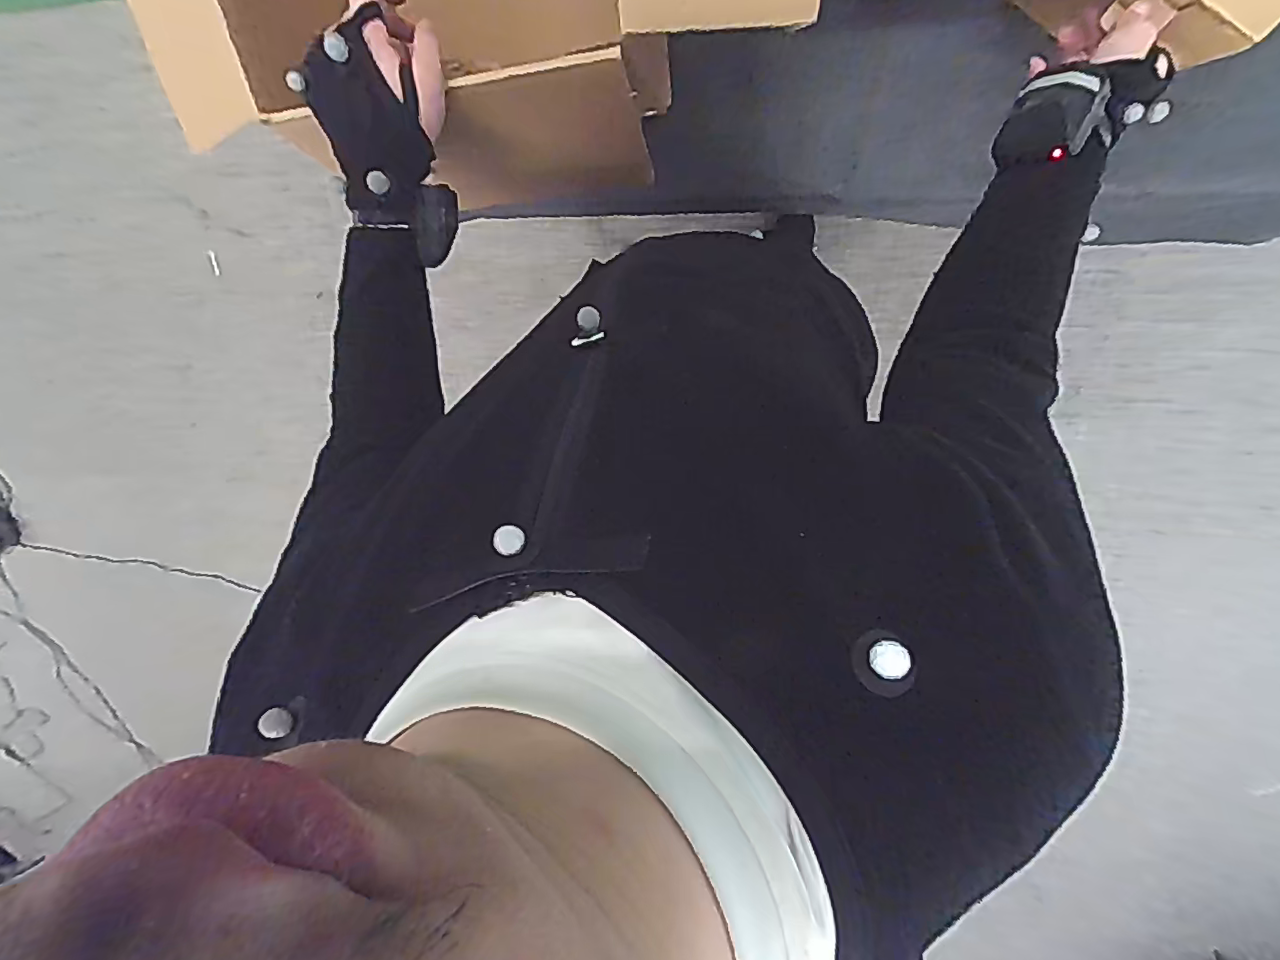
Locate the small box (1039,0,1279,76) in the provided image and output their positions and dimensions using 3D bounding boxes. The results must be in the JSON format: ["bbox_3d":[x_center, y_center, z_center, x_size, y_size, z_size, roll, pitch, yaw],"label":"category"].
[{"bbox_3d":[0.480,-0.487,0.455,0.168,0.176,0.179,33,119,-7],"label":"small box"}]
